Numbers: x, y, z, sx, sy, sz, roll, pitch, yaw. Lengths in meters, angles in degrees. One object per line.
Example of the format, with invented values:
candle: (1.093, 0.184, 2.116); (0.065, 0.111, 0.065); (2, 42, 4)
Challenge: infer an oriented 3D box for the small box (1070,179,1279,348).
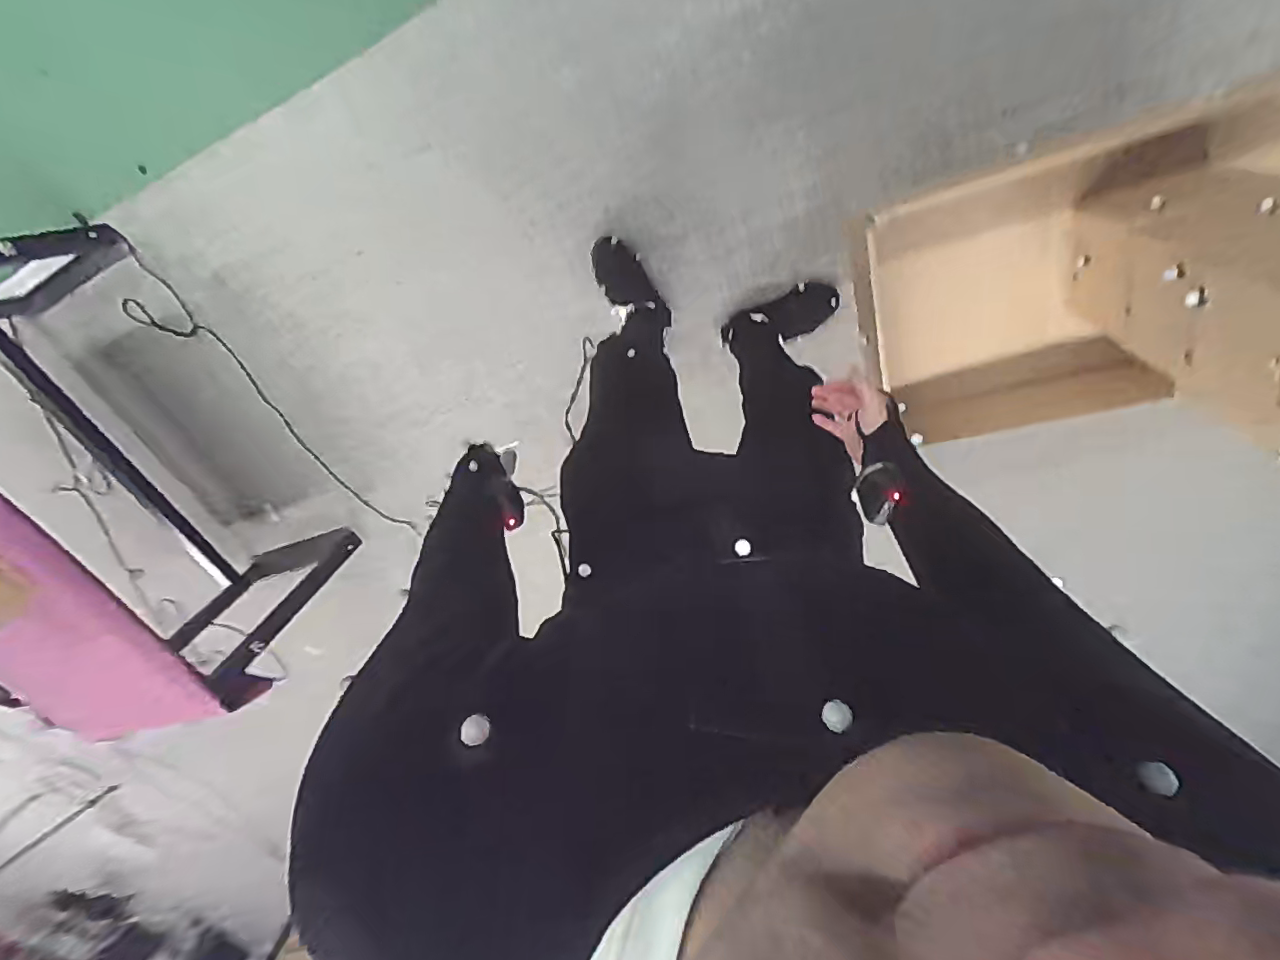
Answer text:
small box: (0.762, -0.313, 0.776); (0.179, 0.176, 0.168); (-11, 119, 20)

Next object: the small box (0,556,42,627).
small box: (-1.473, 0.263, 1.164); (0.179, 0.176, 0.168); (-17, 116, 21)
